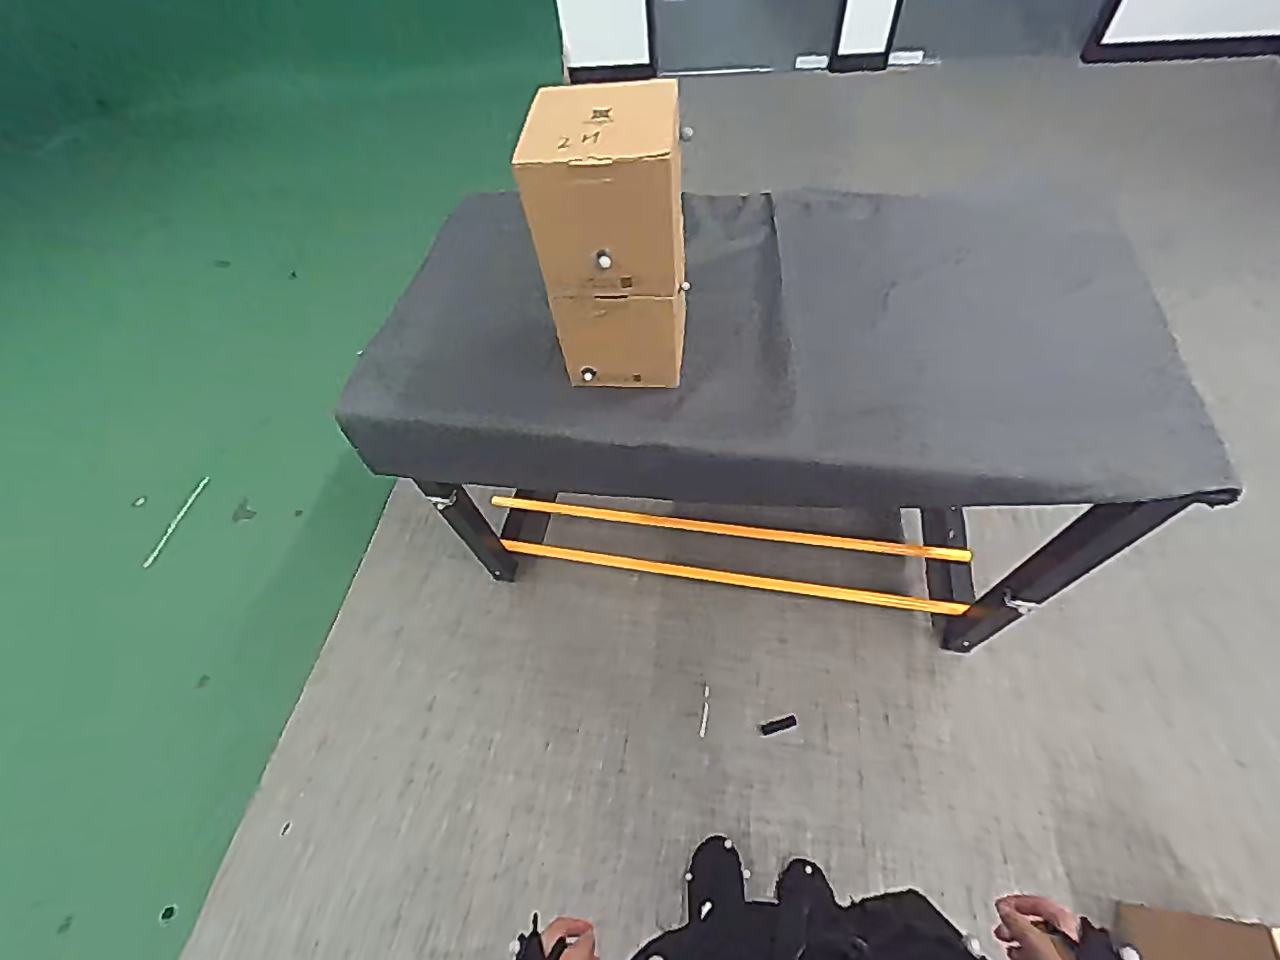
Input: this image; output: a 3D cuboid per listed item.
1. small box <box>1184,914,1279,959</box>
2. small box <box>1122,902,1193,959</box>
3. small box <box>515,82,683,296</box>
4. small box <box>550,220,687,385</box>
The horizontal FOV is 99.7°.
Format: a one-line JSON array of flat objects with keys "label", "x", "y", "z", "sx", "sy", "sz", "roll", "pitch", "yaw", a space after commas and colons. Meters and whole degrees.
[{"label": "small box", "x": 0.911, "y": 0.724, "z": 0.731, "sx": 0.168, "sy": 0.176, "sz": 0.179, "roll": 7, "pitch": 58, "yaw": 10}, {"label": "small box", "x": 0.930, "y": 0.814, "z": 0.866, "sx": 0.168, "sy": 0.176, "sz": 0.179, "roll": 8, "pitch": 60, "yaw": 11}, {"label": "small box", "x": -0.034, "y": -0.347, "z": 0.657, "sx": 0.168, "sy": 0.176, "sz": 0.179, "roll": 1, "pitch": 58, "yaw": 7}, {"label": "small box", "x": -0.019, "y": -0.256, "z": 0.794, "sx": 0.168, "sy": 0.176, "sz": 0.179, "roll": 3, "pitch": 57, "yaw": 8}]
